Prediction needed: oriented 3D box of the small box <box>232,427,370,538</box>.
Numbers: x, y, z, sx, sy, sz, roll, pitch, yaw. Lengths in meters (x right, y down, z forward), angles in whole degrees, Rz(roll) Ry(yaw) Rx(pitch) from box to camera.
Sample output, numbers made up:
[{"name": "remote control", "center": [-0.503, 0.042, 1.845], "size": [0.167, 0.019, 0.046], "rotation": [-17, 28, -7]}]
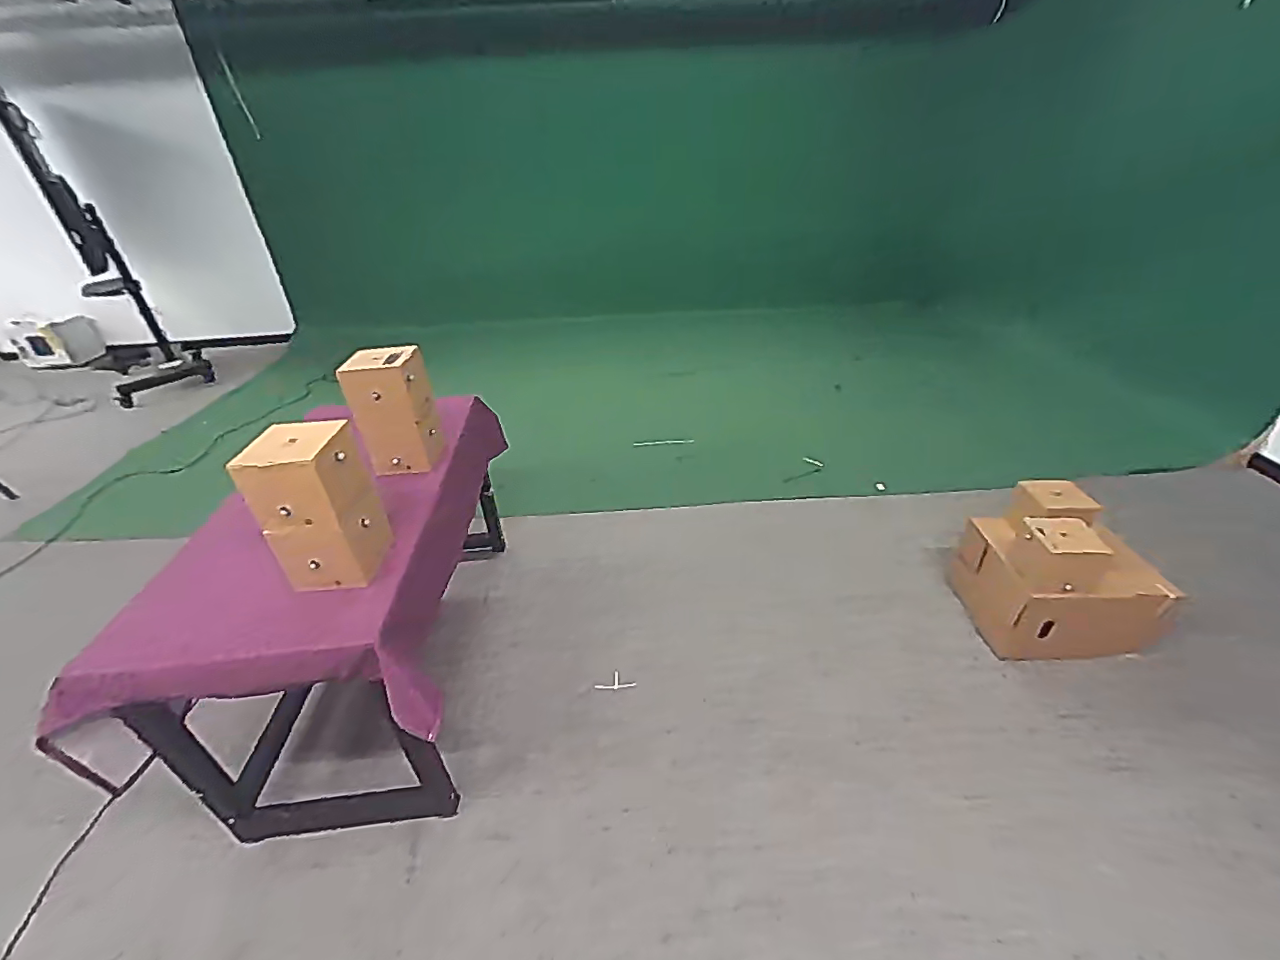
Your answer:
[{"name": "small box", "center": [-0.703, 0.003, 1.150], "size": [0.168, 0.176, 0.179], "rotation": [-4, 33, 0]}]

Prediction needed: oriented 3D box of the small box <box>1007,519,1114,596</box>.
[{"name": "small box", "center": [1.280, 0.239, 1.662], "size": [0.179, 0.176, 0.168], "rotation": [1, 33, 4]}]

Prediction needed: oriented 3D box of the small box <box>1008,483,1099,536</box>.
[{"name": "small box", "center": [1.395, 0.123, 1.845], "size": [0.179, 0.176, 0.168], "rotation": [0, 32, 1]}]

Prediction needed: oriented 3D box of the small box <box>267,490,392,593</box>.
[{"name": "small box", "center": [-0.692, 0.143, 1.233], "size": [0.168, 0.176, 0.179], "rotation": [-4, 32, 0]}]

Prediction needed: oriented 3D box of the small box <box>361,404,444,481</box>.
[{"name": "small box", "center": [-0.711, -0.115, 1.645], "size": [0.168, 0.176, 0.179], "rotation": [-4, 33, 0]}]
